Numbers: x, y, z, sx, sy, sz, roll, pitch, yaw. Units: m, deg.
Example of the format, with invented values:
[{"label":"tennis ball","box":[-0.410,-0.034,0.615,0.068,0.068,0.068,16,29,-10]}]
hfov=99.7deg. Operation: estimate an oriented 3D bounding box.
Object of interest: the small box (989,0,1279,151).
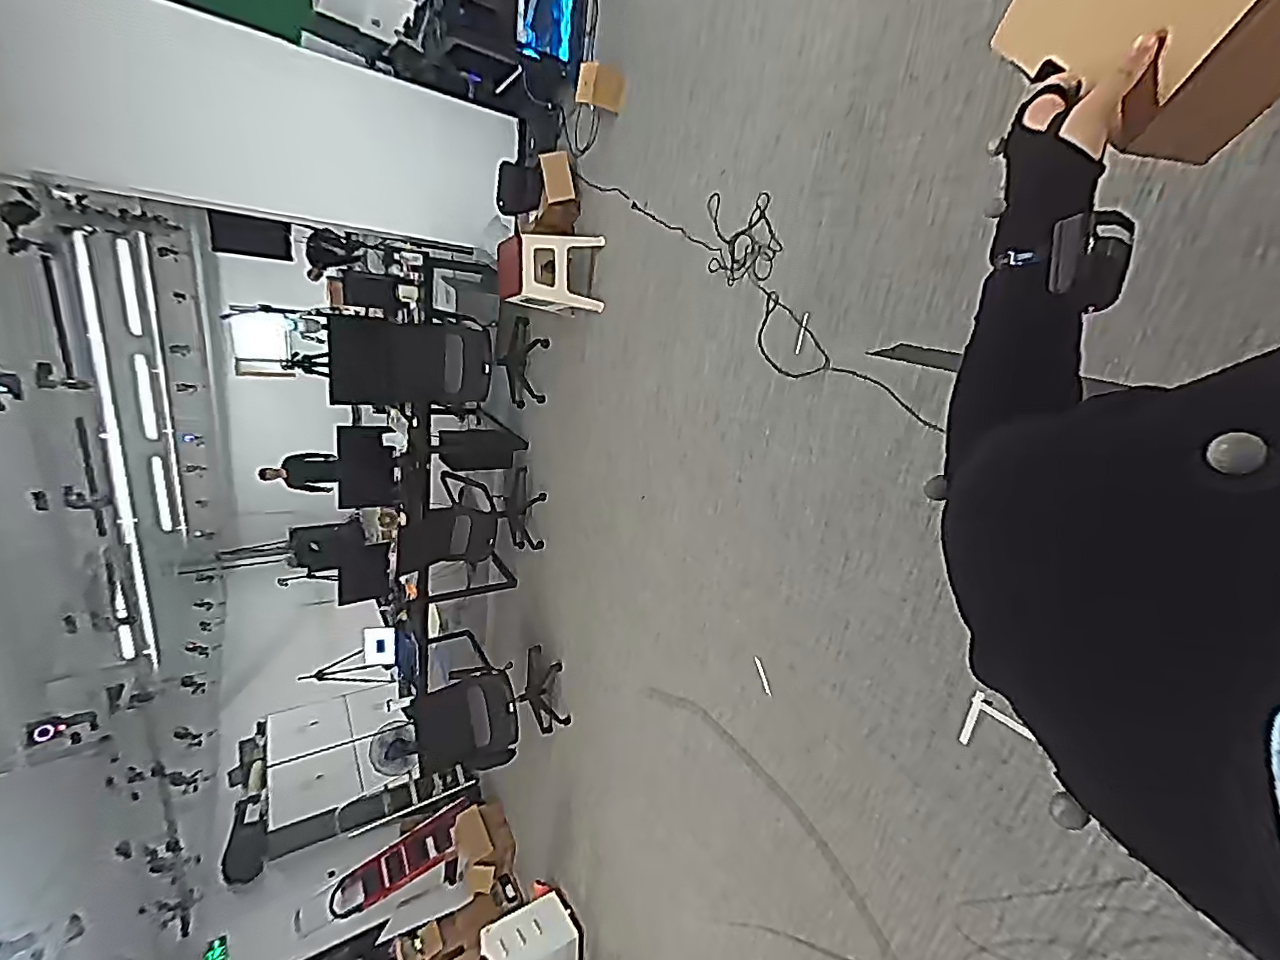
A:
[{"label":"small box","box":[0.439,-0.393,0.423,0.168,0.176,0.179,65,151,23]}]
